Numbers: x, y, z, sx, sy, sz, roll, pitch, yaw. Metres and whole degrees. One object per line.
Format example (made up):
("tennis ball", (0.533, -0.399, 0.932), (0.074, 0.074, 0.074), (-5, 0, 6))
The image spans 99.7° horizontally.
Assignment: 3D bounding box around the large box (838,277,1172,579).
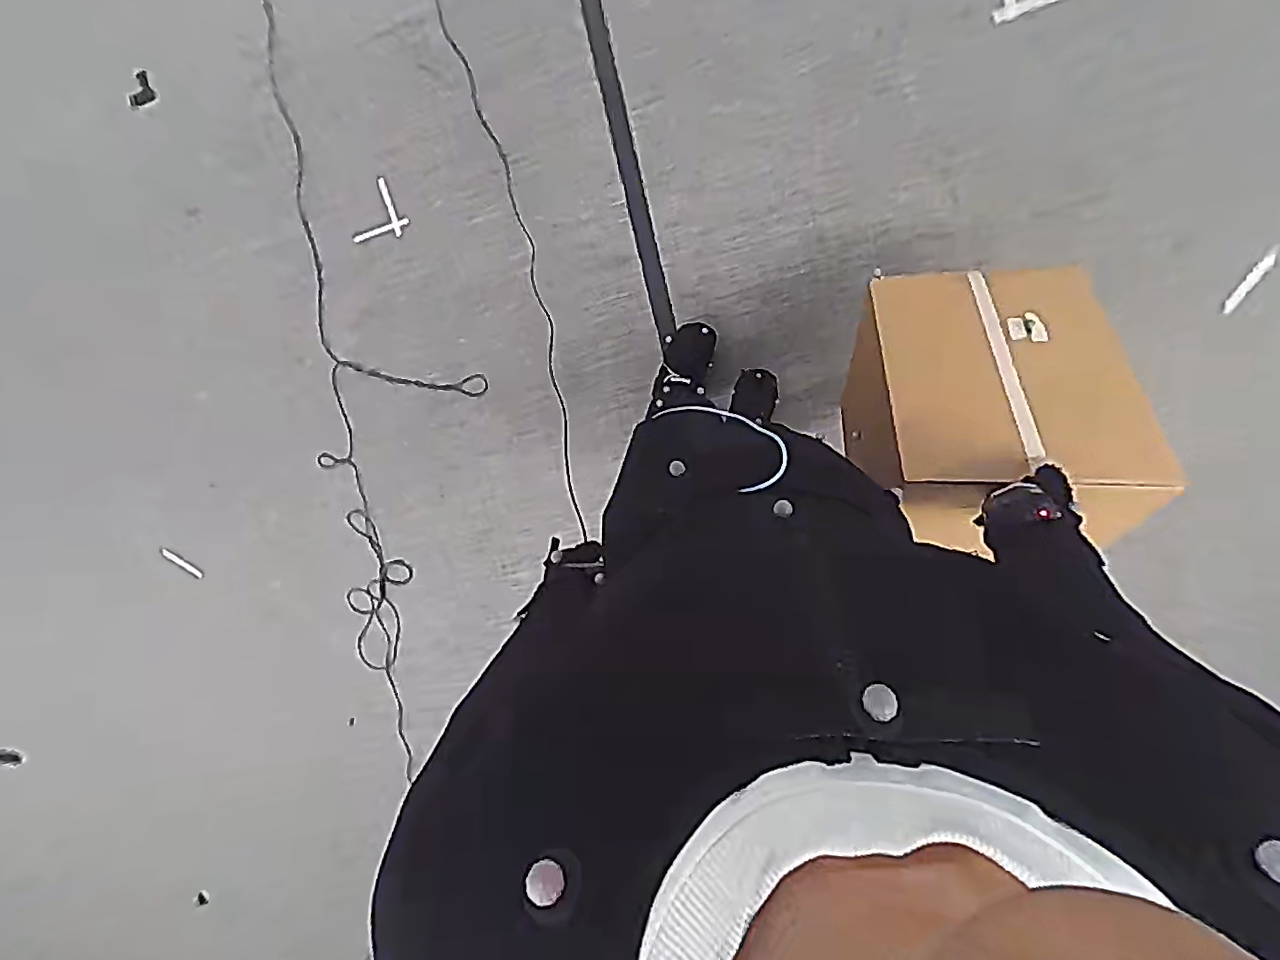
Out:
("large box", (0.533, -0.077, 0.907), (0.320, 0.408, 0.320), (0, 146, 9))
